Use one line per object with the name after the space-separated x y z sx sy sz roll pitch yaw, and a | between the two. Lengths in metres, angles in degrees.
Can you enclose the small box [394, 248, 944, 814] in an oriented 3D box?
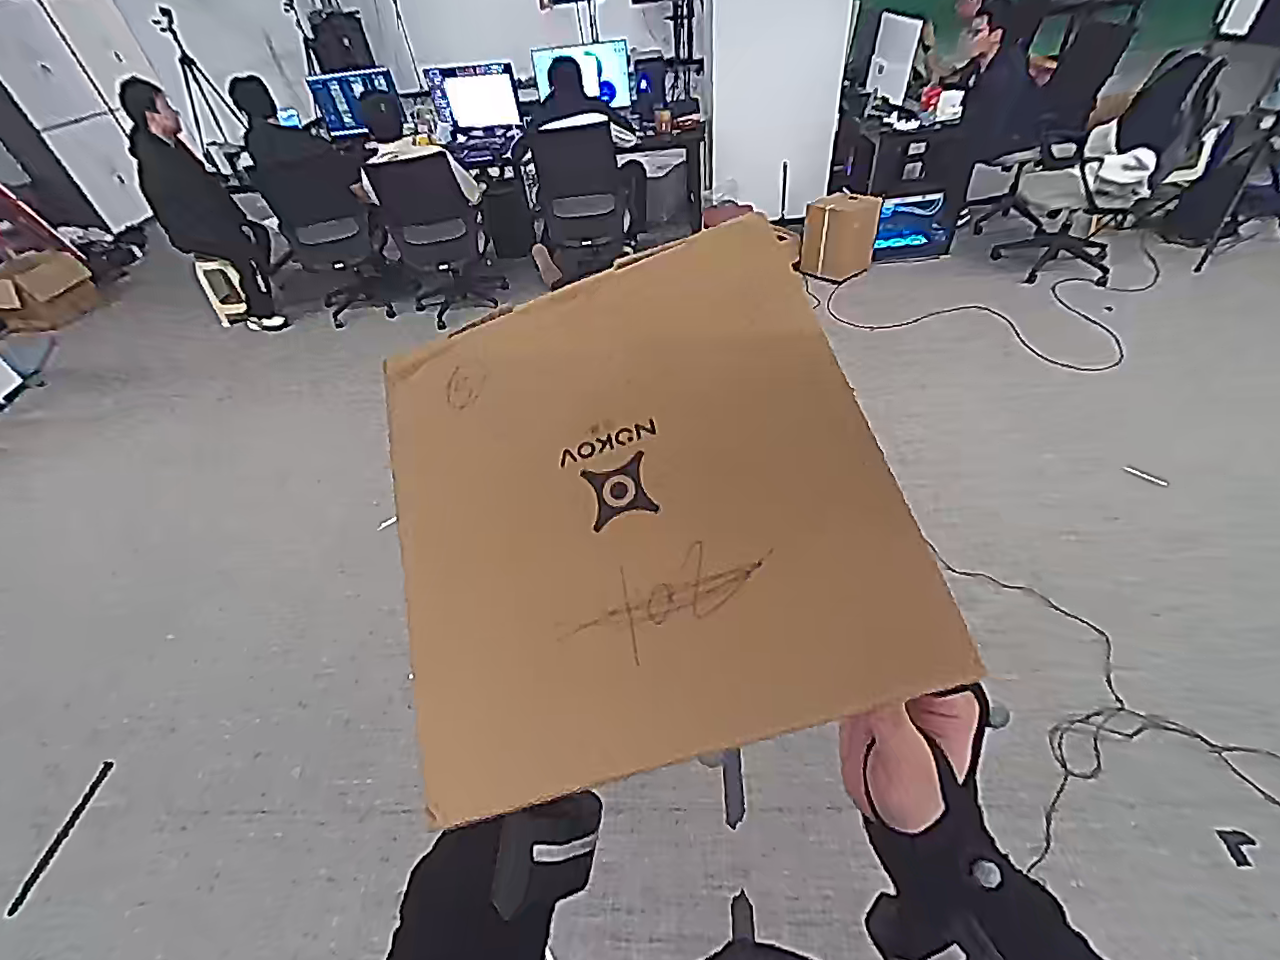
0.009 0.032 0.271 0.168 0.176 0.179 -20 68 7 | small box
